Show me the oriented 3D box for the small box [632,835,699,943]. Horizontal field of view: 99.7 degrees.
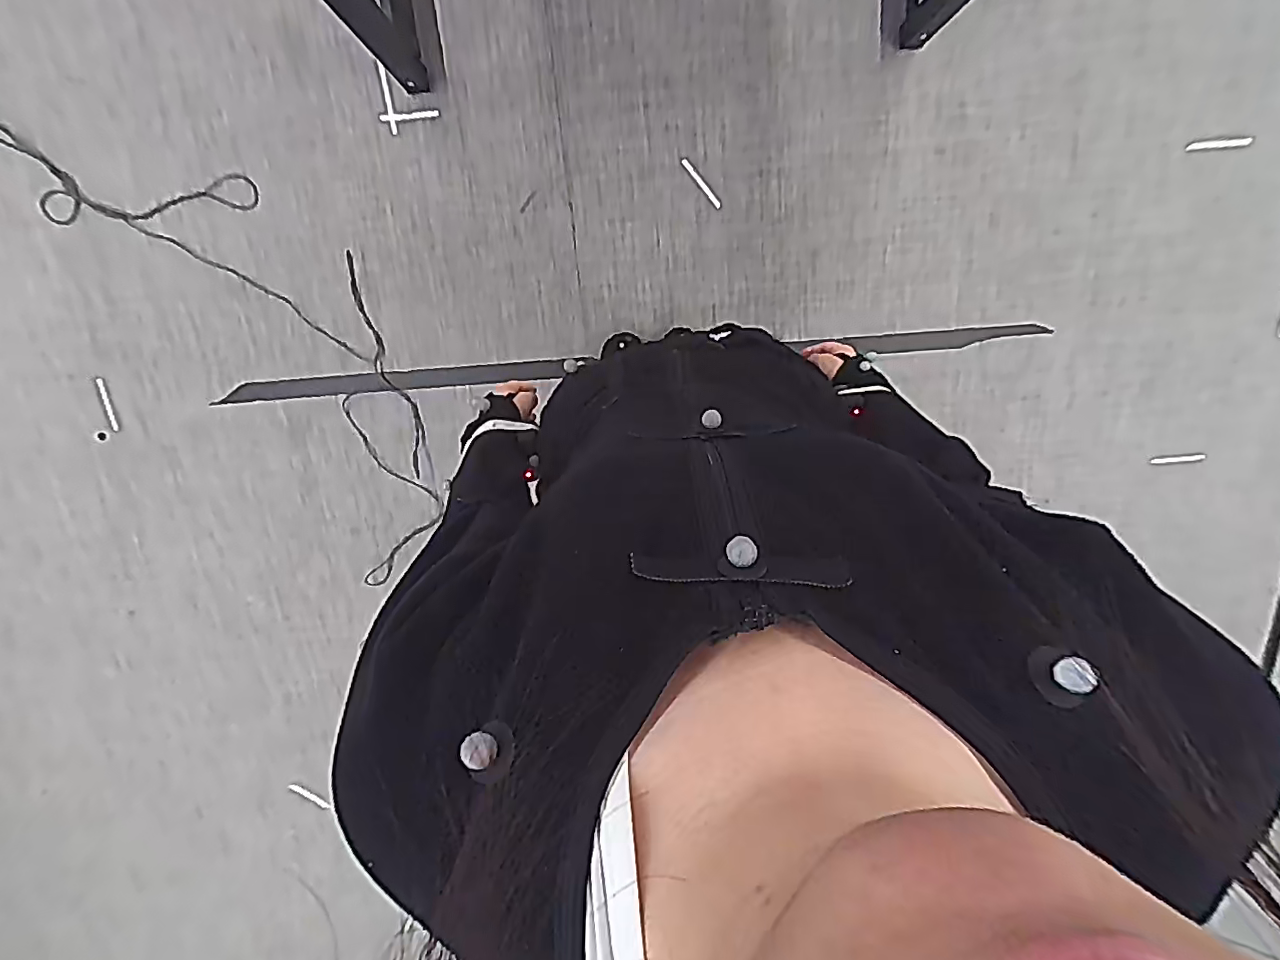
[{"bbox_3d":[0.070,1.166,1.548,0.168,0.176,0.179,-9,106,0],"label":"small box"}]
